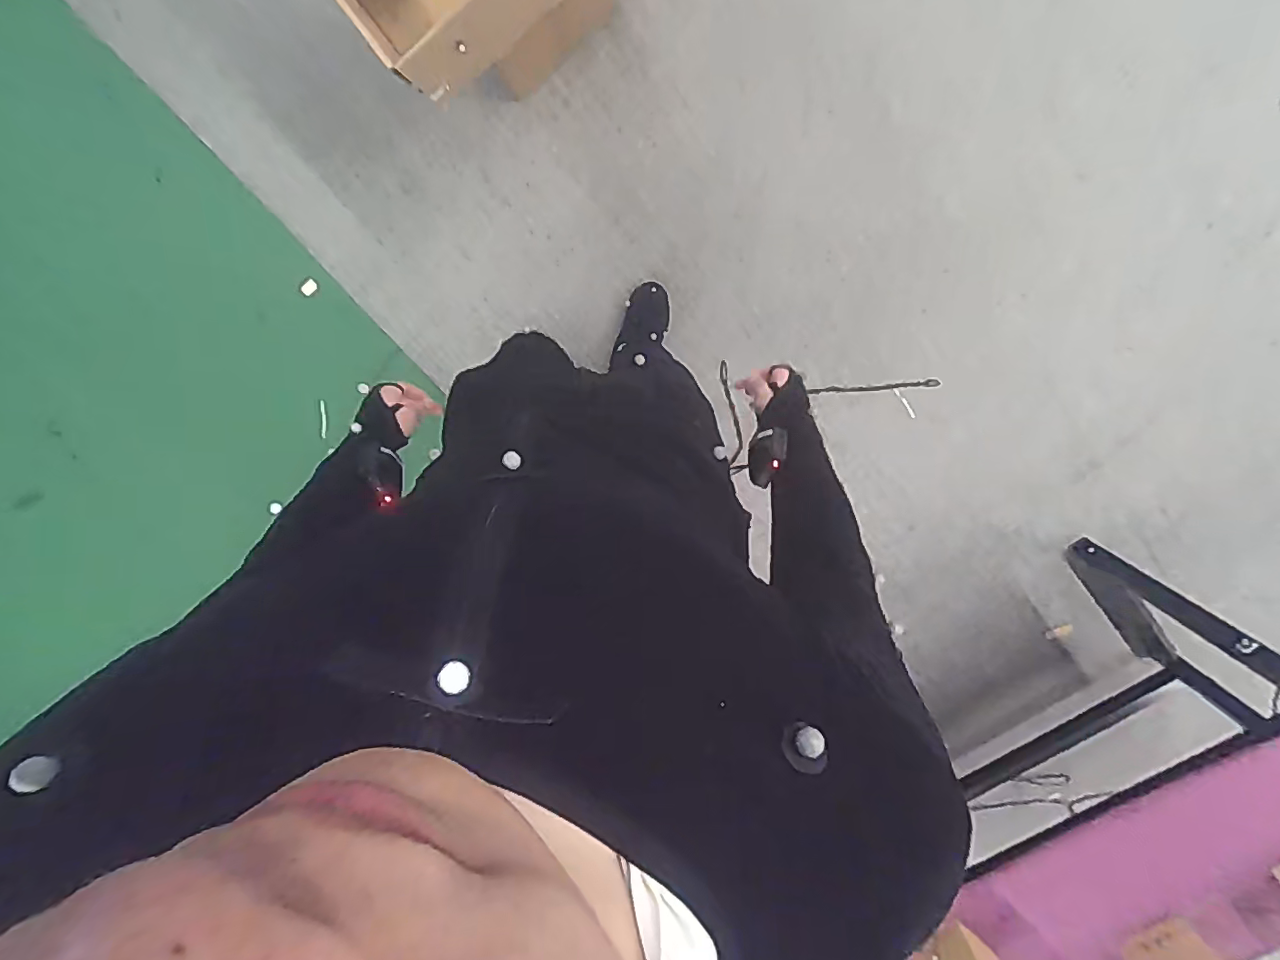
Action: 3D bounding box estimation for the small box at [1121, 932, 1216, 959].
[{"bbox_3d":[1.208,1.128,1.159,0.168,0.176,0.179,-41,103,13],"label":"small box"}]

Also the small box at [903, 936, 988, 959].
[{"bbox_3d":[0.713,1.150,1.175,0.168,0.176,0.179,-41,103,13],"label":"small box"}]
